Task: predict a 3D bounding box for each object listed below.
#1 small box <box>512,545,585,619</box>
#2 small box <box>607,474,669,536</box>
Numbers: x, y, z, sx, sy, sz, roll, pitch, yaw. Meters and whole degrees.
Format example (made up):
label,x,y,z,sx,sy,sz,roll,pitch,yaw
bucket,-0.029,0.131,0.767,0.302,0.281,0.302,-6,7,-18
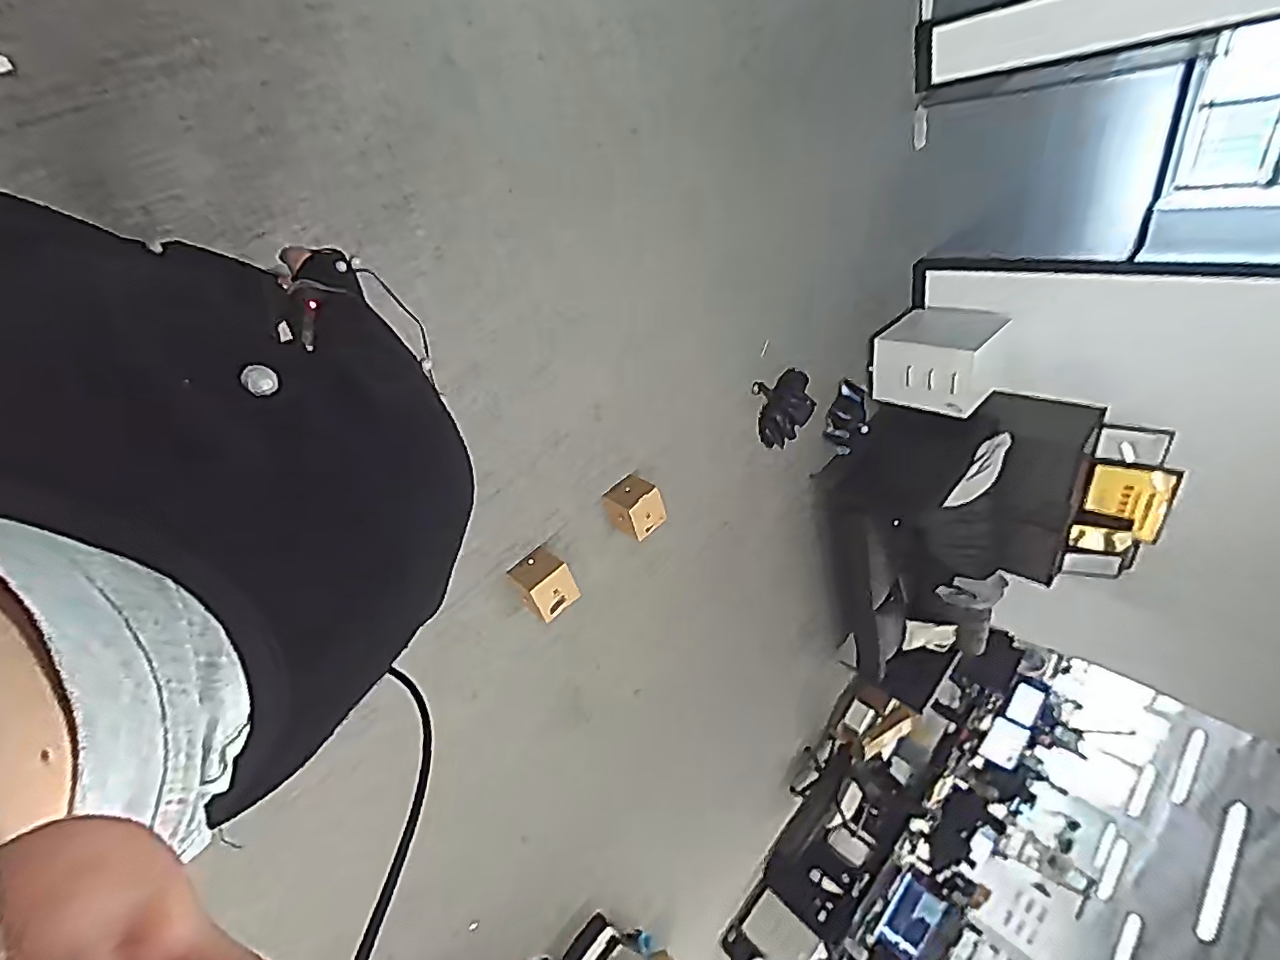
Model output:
label,x,y,z,sx,sy,sz,roll,pitch,yaw
small box,-0.337,0.370,1.990,0.168,0.176,0.179,-40,129,-27
small box,-0.011,0.092,2.199,0.168,0.176,0.179,-39,130,-26
